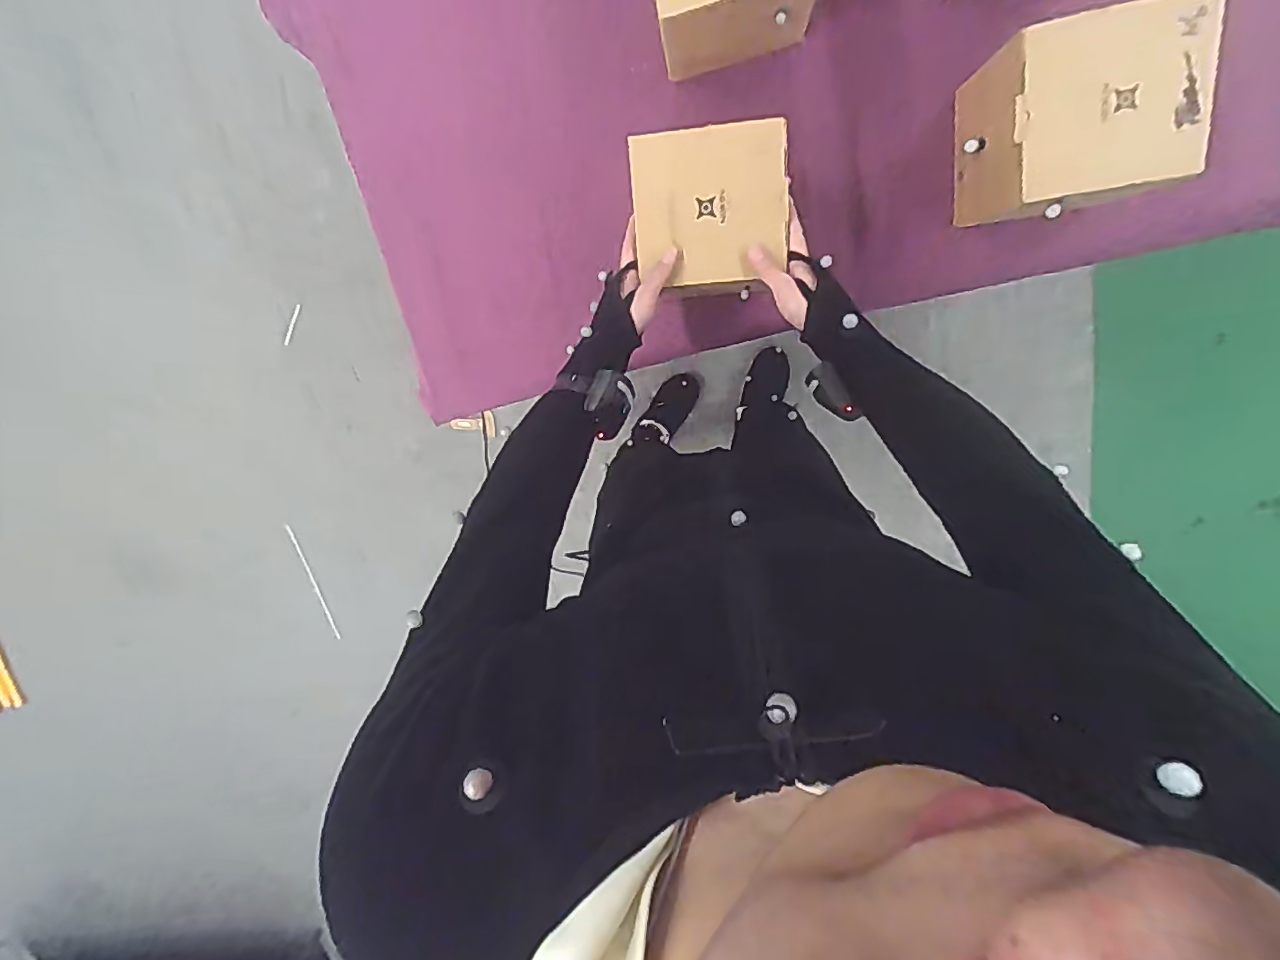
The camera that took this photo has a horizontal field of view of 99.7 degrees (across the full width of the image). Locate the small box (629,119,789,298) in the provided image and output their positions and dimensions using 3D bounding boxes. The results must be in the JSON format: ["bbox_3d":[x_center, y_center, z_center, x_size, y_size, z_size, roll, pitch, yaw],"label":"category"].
[{"bbox_3d":[0.086,-0.326,0.682,0.179,0.176,0.168,-2,104,8],"label":"small box"}]

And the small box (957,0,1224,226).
[{"bbox_3d":[0.485,-0.402,0.617,0.179,0.176,0.168,-6,106,10],"label":"small box"}]
